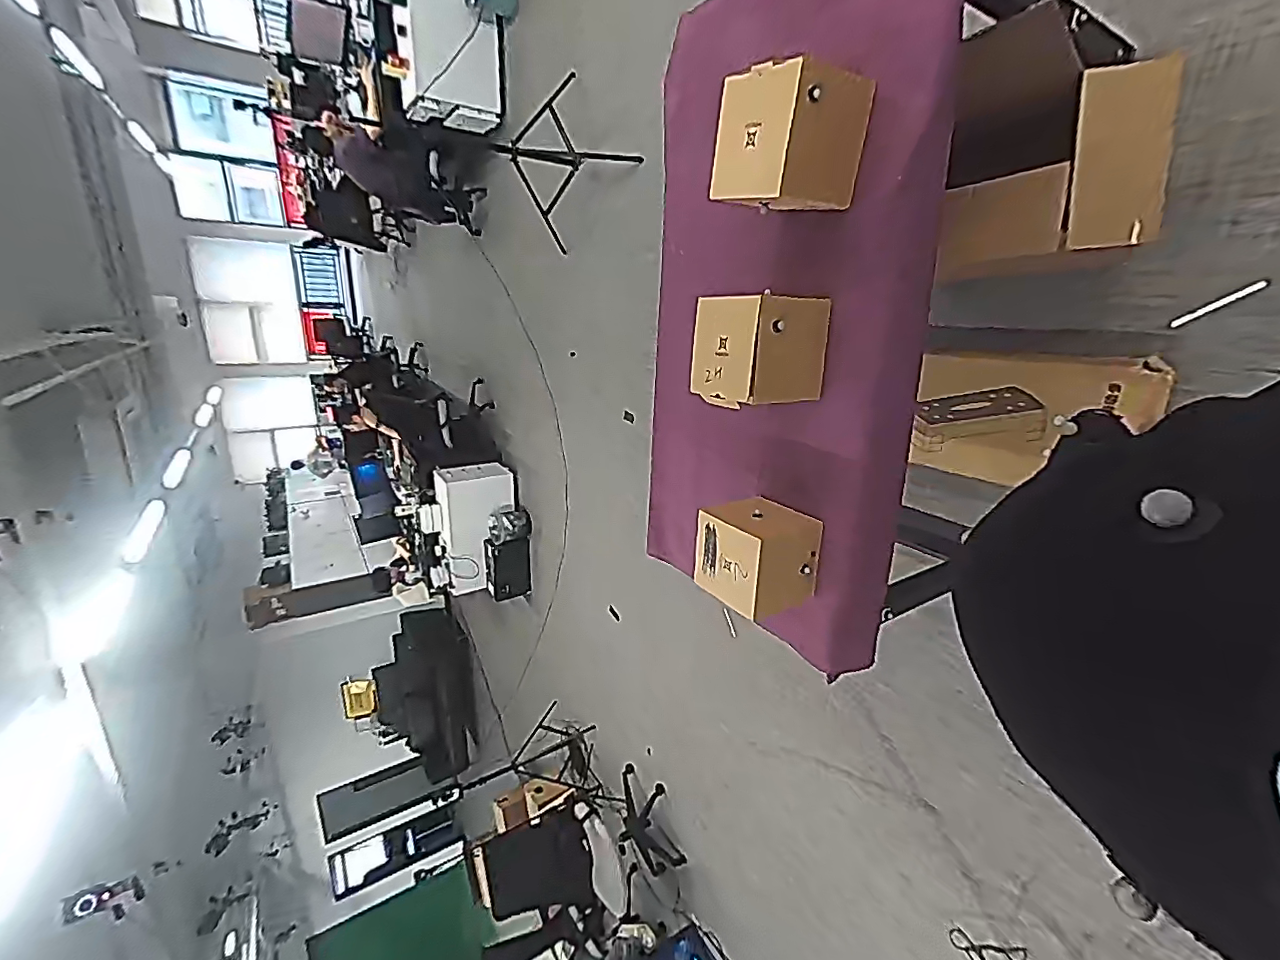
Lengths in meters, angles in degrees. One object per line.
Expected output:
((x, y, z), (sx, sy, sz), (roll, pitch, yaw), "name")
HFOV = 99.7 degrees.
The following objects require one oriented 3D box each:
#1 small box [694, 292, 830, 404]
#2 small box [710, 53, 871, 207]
((0.217, -0.240, 0.972), (0.168, 0.176, 0.179), (27, 121, 56), "small box")
((0.236, -0.537, 0.861), (0.168, 0.176, 0.179), (35, 126, 50), "small box")
